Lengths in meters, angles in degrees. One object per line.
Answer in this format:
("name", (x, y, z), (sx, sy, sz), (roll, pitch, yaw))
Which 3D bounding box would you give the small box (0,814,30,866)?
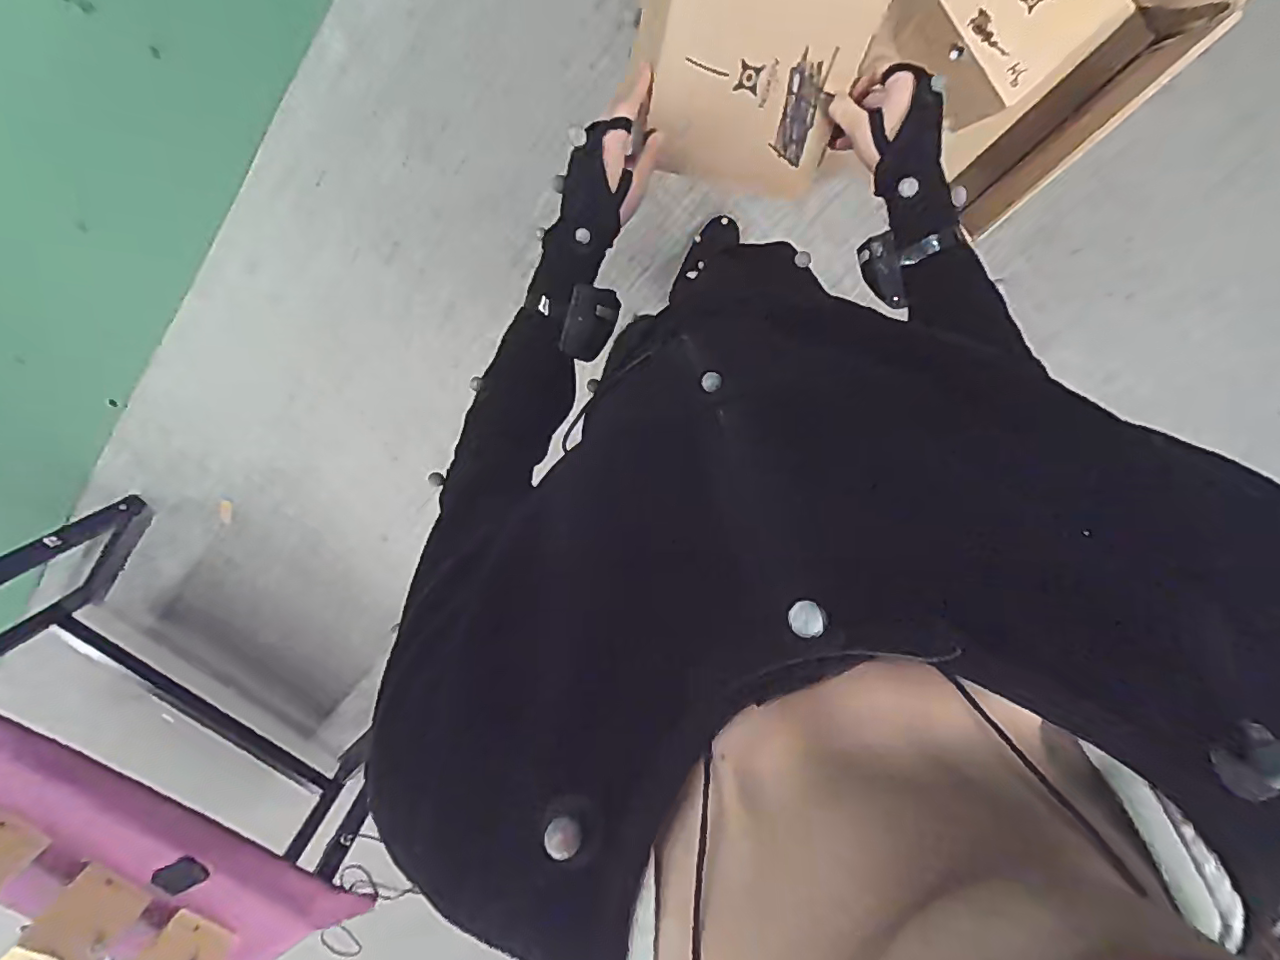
("small box", (-1.496, 0.825, 1.160), (0.179, 0.176, 0.168), (-38, 105, 18))

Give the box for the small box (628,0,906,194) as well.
("small box", (0.097, -0.396, 0.498), (0.179, 0.176, 0.168), (4, 137, -15))

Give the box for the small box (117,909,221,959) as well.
("small box", (-1.151, 1.168, 1.280), (0.168, 0.176, 0.179), (41, 110, -13))

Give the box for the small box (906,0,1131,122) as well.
("small box", (0.498, -0.628, 0.721), (0.179, 0.176, 0.168), (-40, 103, 18))
